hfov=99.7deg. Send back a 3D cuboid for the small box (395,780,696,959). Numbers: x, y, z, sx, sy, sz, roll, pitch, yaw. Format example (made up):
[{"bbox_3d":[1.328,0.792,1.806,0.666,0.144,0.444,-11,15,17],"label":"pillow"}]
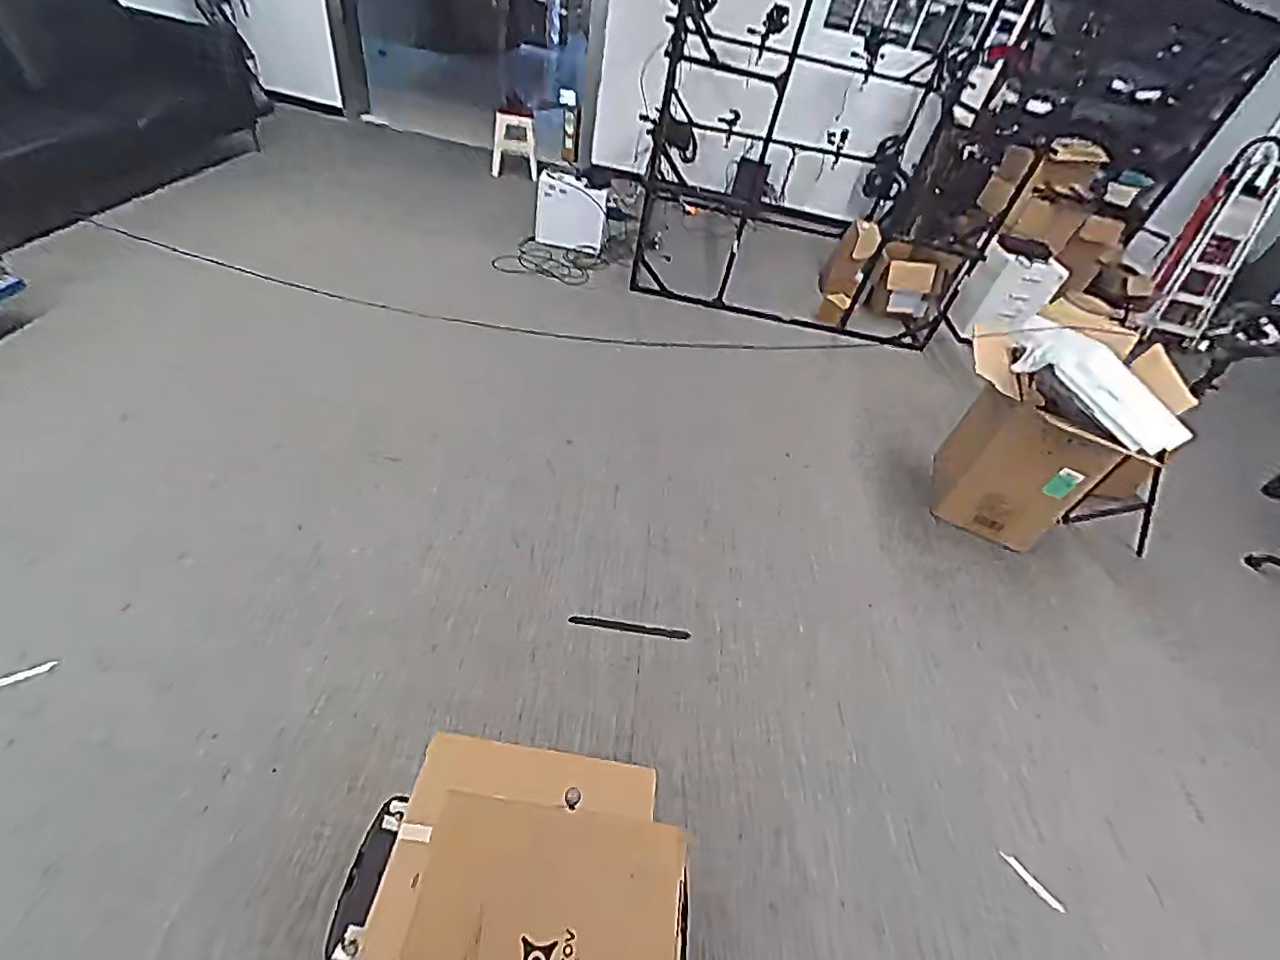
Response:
[{"bbox_3d":[-0.072,0.327,0.393,0.179,0.176,0.168,13,57,-5],"label":"small box"}]

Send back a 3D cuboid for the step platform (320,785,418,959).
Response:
[{"bbox_3d":[-0.256,0.868,1.093,0.684,0.204,0.286,14,43,2],"label":"step platform"}]

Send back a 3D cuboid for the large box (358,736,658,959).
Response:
[{"bbox_3d":[-0.196,0.690,0.944,0.408,0.320,0.320,11,42,-2],"label":"large box"}]
